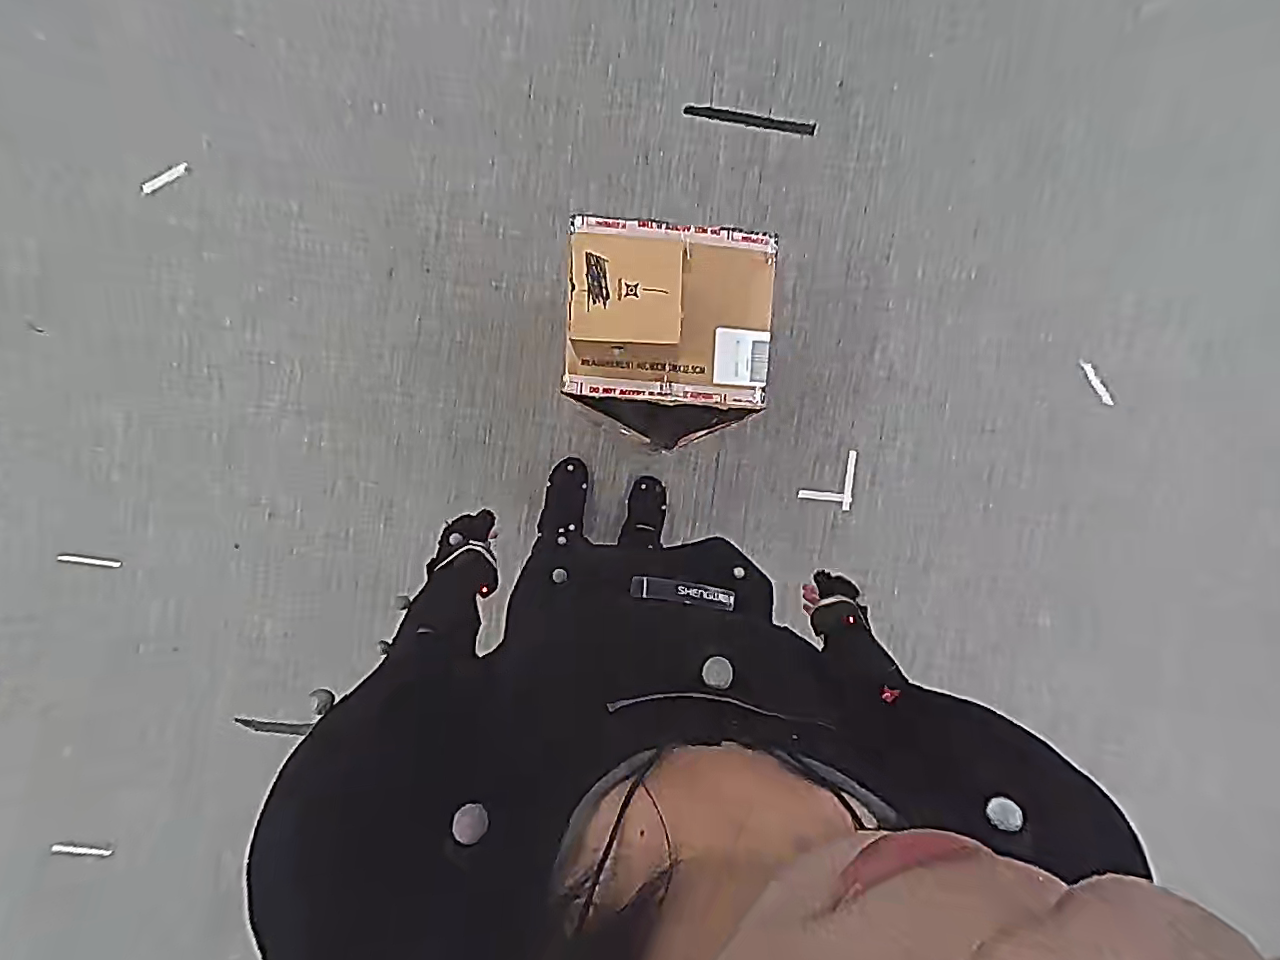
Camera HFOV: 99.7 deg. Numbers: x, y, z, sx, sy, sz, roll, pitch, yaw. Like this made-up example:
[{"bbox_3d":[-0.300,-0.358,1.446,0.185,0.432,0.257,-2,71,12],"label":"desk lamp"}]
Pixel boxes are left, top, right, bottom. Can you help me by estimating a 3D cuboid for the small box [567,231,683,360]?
[{"bbox_3d":[-0.026,-0.301,0.915,0.179,0.176,0.168,2,92,-3],"label":"small box"}]
